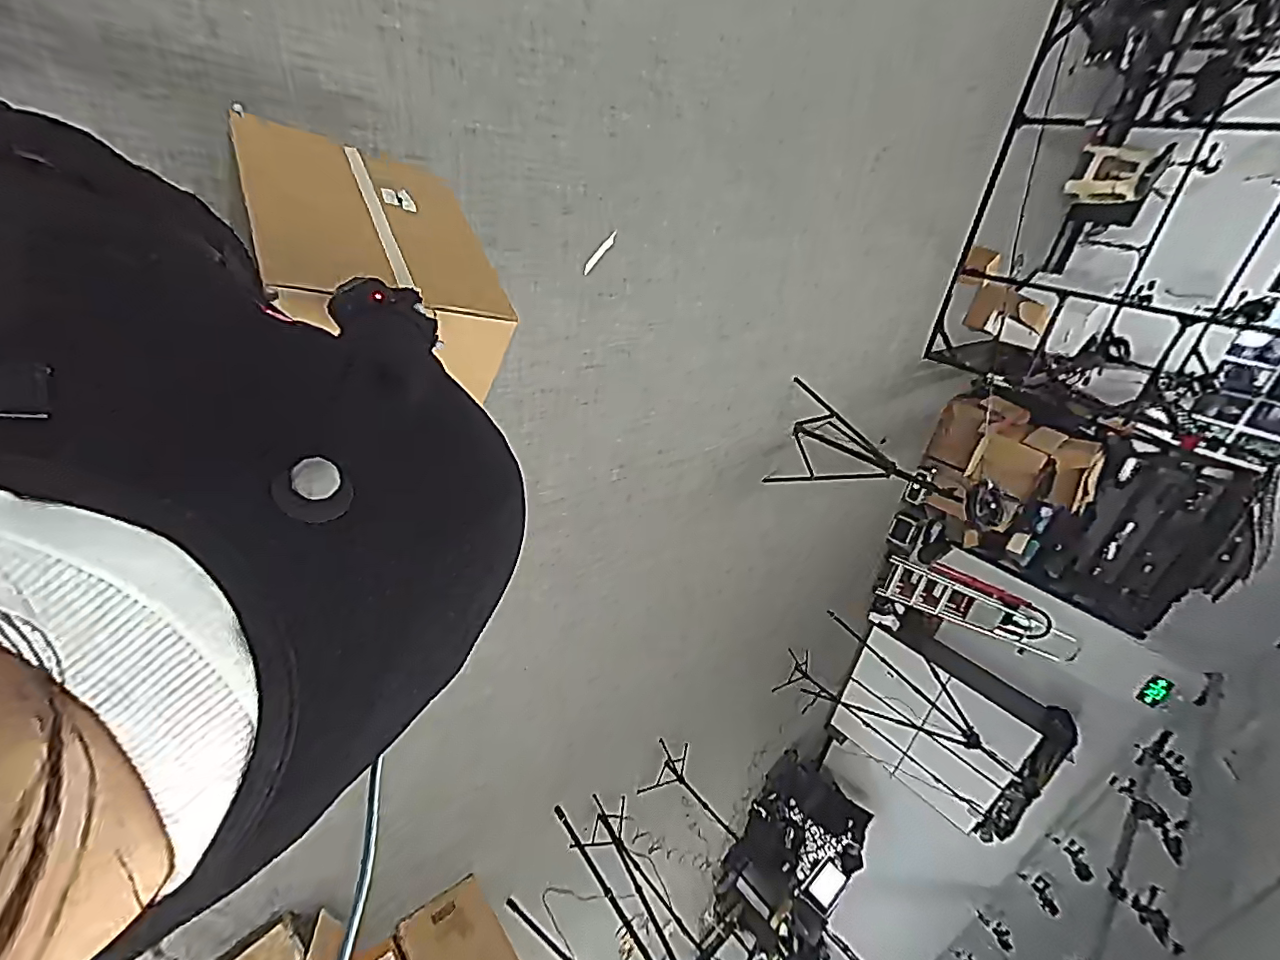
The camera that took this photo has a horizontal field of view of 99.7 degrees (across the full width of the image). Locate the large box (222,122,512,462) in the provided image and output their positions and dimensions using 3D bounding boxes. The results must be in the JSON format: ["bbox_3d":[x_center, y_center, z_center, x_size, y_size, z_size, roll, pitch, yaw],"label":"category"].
[{"bbox_3d":[-0.465,-0.281,0.882,0.320,0.408,0.320,-4,143,-42],"label":"large box"}]
